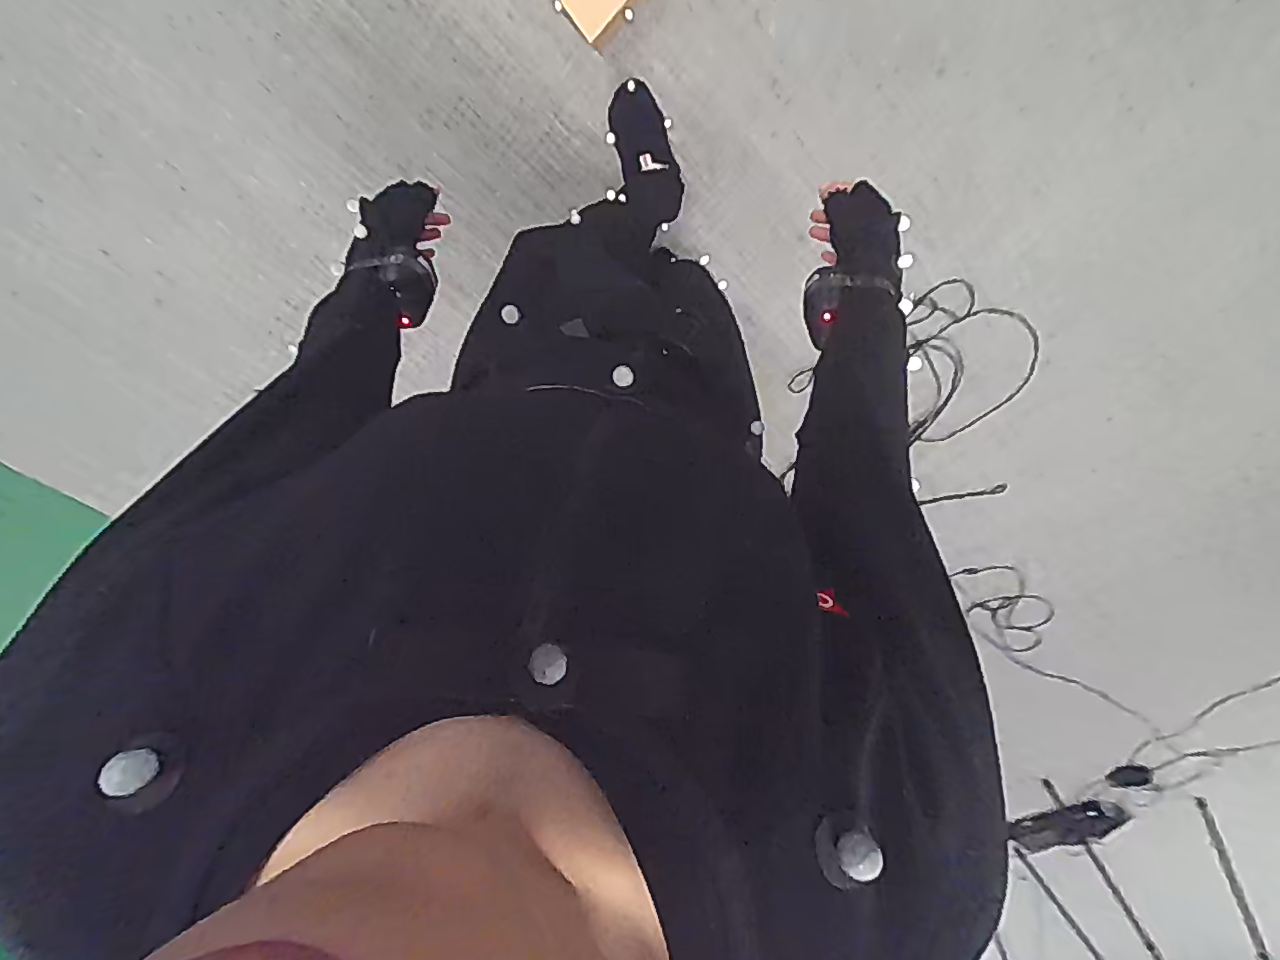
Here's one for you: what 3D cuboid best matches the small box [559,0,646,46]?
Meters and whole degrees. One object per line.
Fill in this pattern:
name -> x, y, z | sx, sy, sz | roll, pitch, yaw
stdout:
small box -> -0.065, -0.886, 0.920 | 0.179, 0.176, 0.168 | -34, 117, 24
